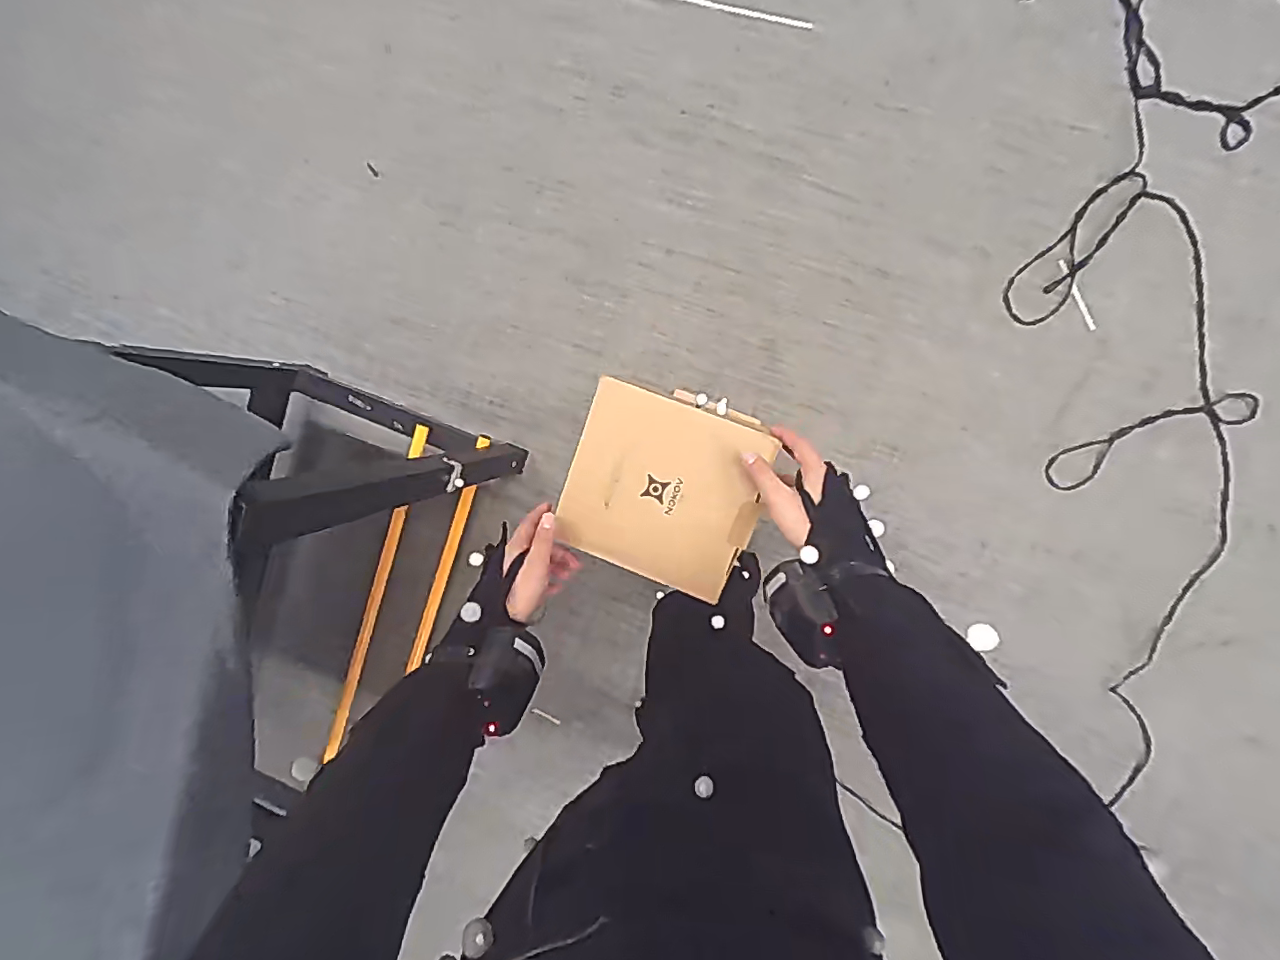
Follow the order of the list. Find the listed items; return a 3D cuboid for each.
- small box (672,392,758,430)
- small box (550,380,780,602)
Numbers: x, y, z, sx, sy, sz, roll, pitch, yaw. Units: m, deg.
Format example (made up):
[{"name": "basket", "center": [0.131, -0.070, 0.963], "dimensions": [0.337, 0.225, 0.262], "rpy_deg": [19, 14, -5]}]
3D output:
[{"name": "small box", "center": [0.118, -0.059, 1.059], "dimensions": [0.168, 0.176, 0.179], "rpy_deg": [22, 99, 7]}, {"name": "small box", "center": [0.032, 0.002, 0.580], "dimensions": [0.179, 0.176, 0.168], "rpy_deg": [20, 98, 7]}]
